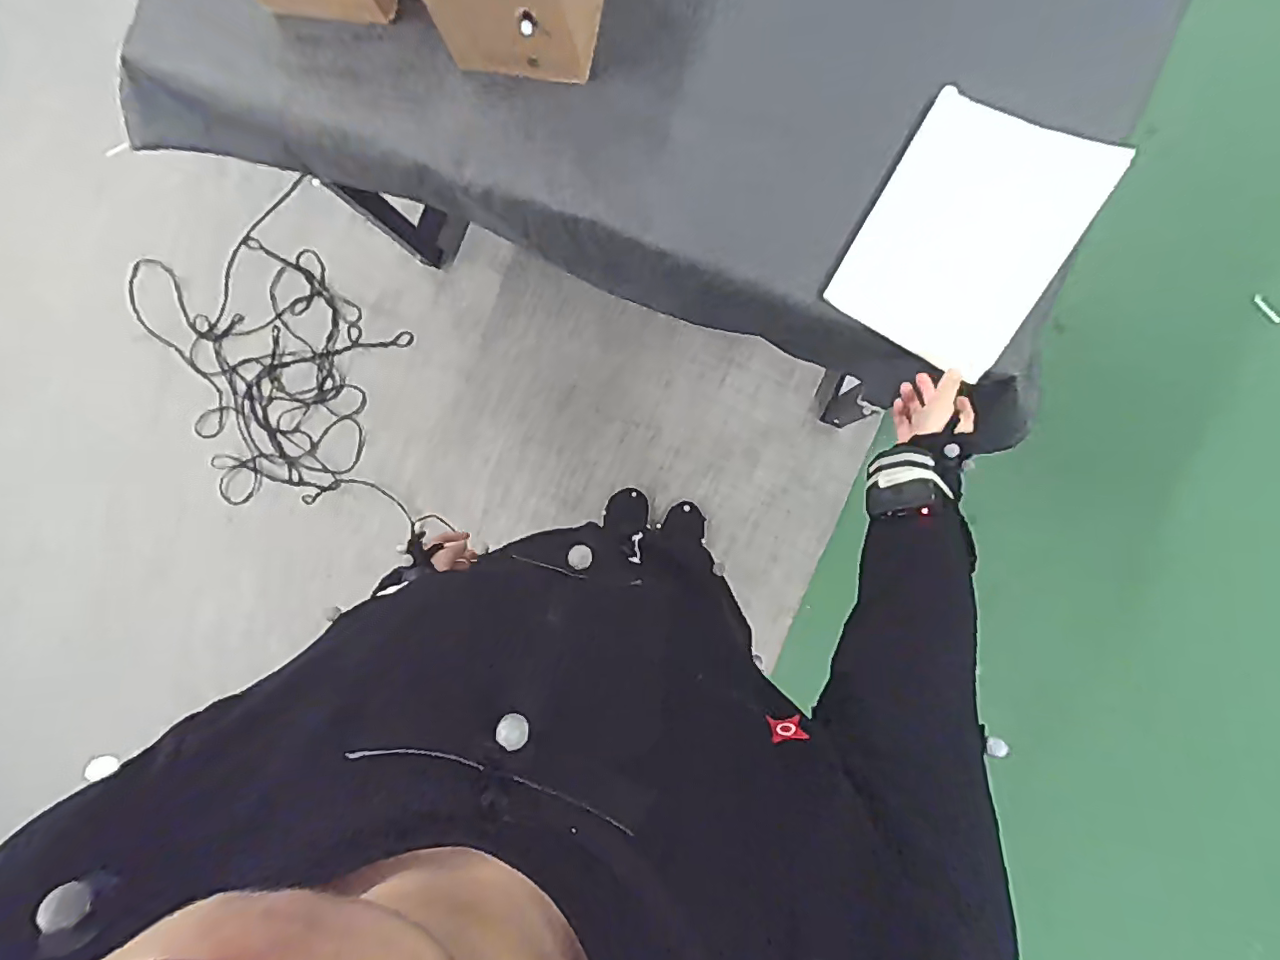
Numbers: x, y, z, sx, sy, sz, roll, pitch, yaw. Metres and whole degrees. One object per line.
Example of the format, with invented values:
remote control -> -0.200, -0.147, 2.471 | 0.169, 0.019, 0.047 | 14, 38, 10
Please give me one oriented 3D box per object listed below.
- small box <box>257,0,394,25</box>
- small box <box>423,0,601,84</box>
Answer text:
small box -> -0.393, -0.663, 0.608 | 0.179, 0.176, 0.168 | 9, 90, 5
small box -> -0.136, -0.574, 0.582 | 0.168, 0.176, 0.179 | 11, 89, 4
